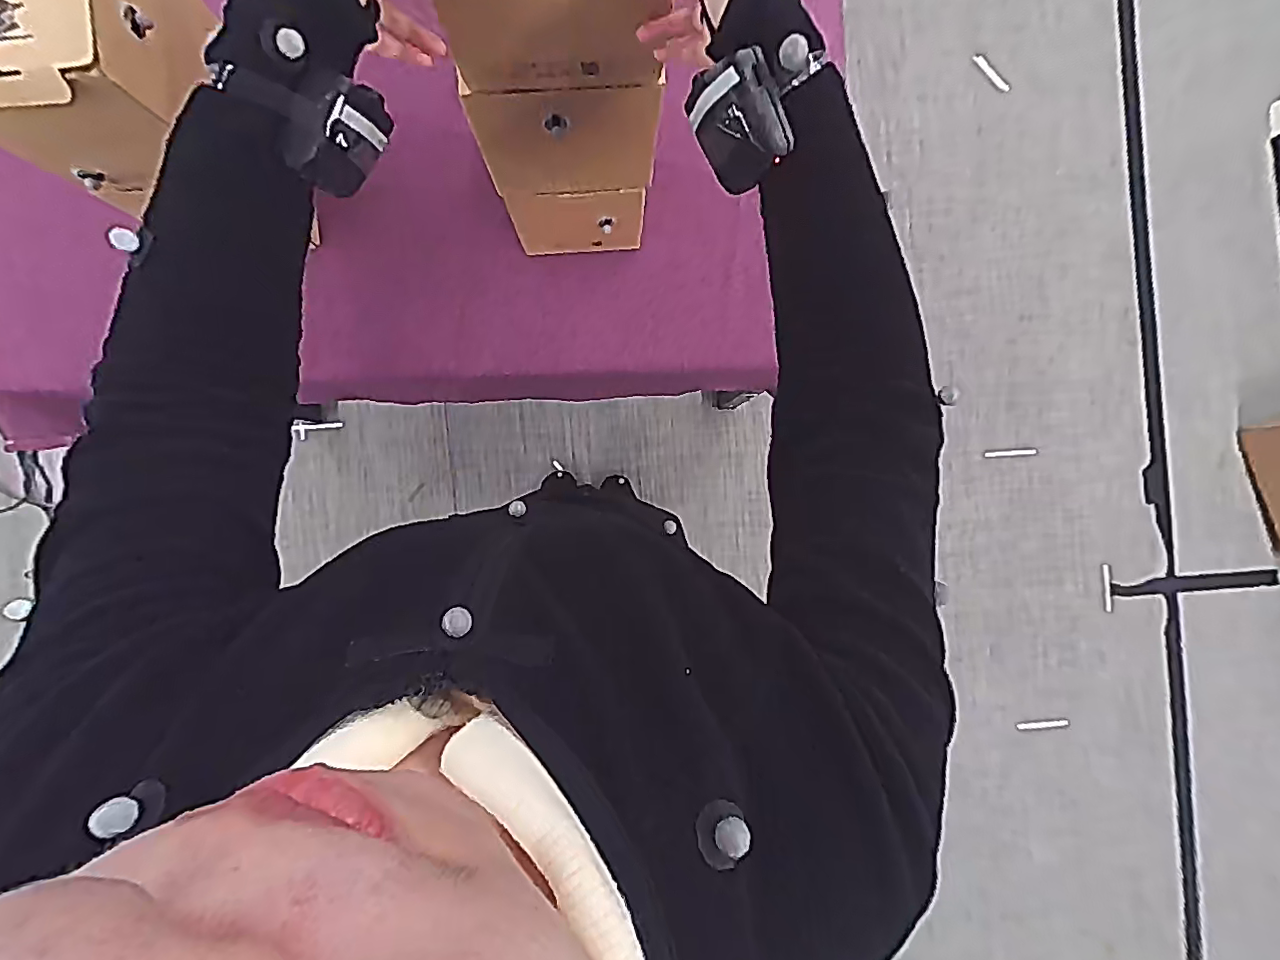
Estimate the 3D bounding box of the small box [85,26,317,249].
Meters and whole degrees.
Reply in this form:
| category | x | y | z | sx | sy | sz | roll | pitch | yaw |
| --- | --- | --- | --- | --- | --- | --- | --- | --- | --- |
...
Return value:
| category | x | y | z | sx | sy | sz | roll | pitch | yaw |
| --- | --- | --- | --- | --- | --- | --- | --- | --- | --- |
| small box | -0.532 | -0.411 | 0.672 | 0.168 | 0.176 | 0.179 | -5 | 92 | -3 |

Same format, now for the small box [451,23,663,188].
| category | x | y | z | sx | sy | sz | roll | pitch | yaw |
| --- | --- | --- | --- | --- | --- | --- | --- | --- | --- |
| small box | -0.076 | -0.409 | 0.530 | 0.179 | 0.176 | 0.168 | -5 | 92 | -3 |

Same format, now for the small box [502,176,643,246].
| category | x | y | z | sx | sy | sz | roll | pitch | yaw |
| --- | --- | --- | --- | --- | --- | --- | --- | --- | --- |
| small box | -0.083 | -0.415 | 0.693 | 0.168 | 0.176 | 0.179 | -4 | 91 | -3 |

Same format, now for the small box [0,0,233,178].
| category | x | y | z | sx | sy | sz | roll | pitch | yaw |
| --- | --- | --- | --- | --- | --- | --- | --- | --- | --- |
| small box | -0.525 | -0.408 | 0.508 | 0.168 | 0.176 | 0.179 | -6 | 91 | -3 |

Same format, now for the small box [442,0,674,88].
| category | x | y | z | sx | sy | sz | roll | pitch | yaw |
| --- | --- | --- | --- | --- | --- | --- | --- | --- | --- |
| small box | -0.062 | -0.412 | 0.366 | 0.168 | 0.176 | 0.179 | -4 | 91 | -3 |
